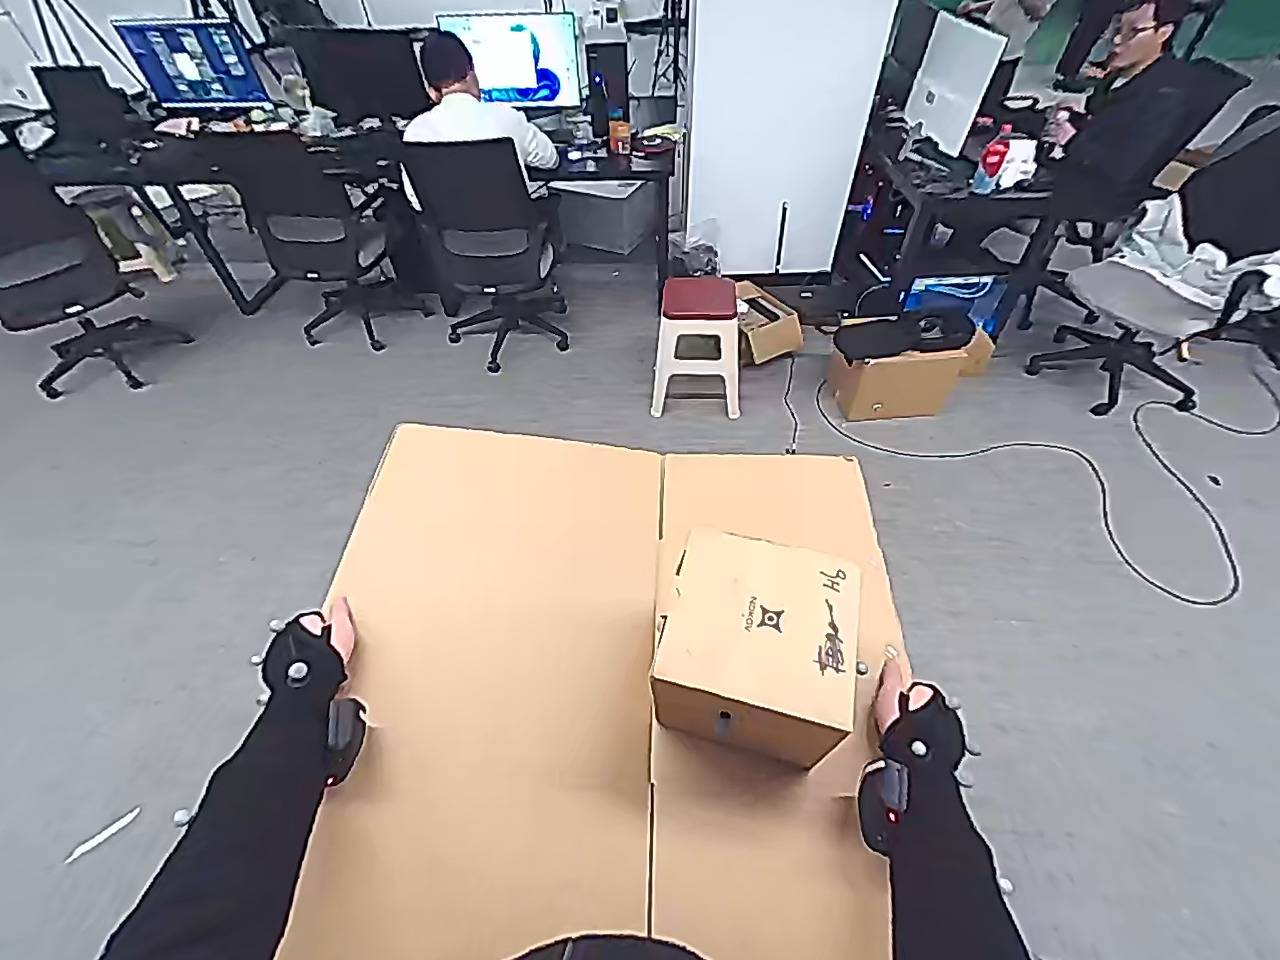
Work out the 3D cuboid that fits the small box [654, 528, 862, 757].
[{"bbox_3d":[0.124,0.177,0.579,0.179,0.176,0.168,11,55,13],"label":"small box"}]
